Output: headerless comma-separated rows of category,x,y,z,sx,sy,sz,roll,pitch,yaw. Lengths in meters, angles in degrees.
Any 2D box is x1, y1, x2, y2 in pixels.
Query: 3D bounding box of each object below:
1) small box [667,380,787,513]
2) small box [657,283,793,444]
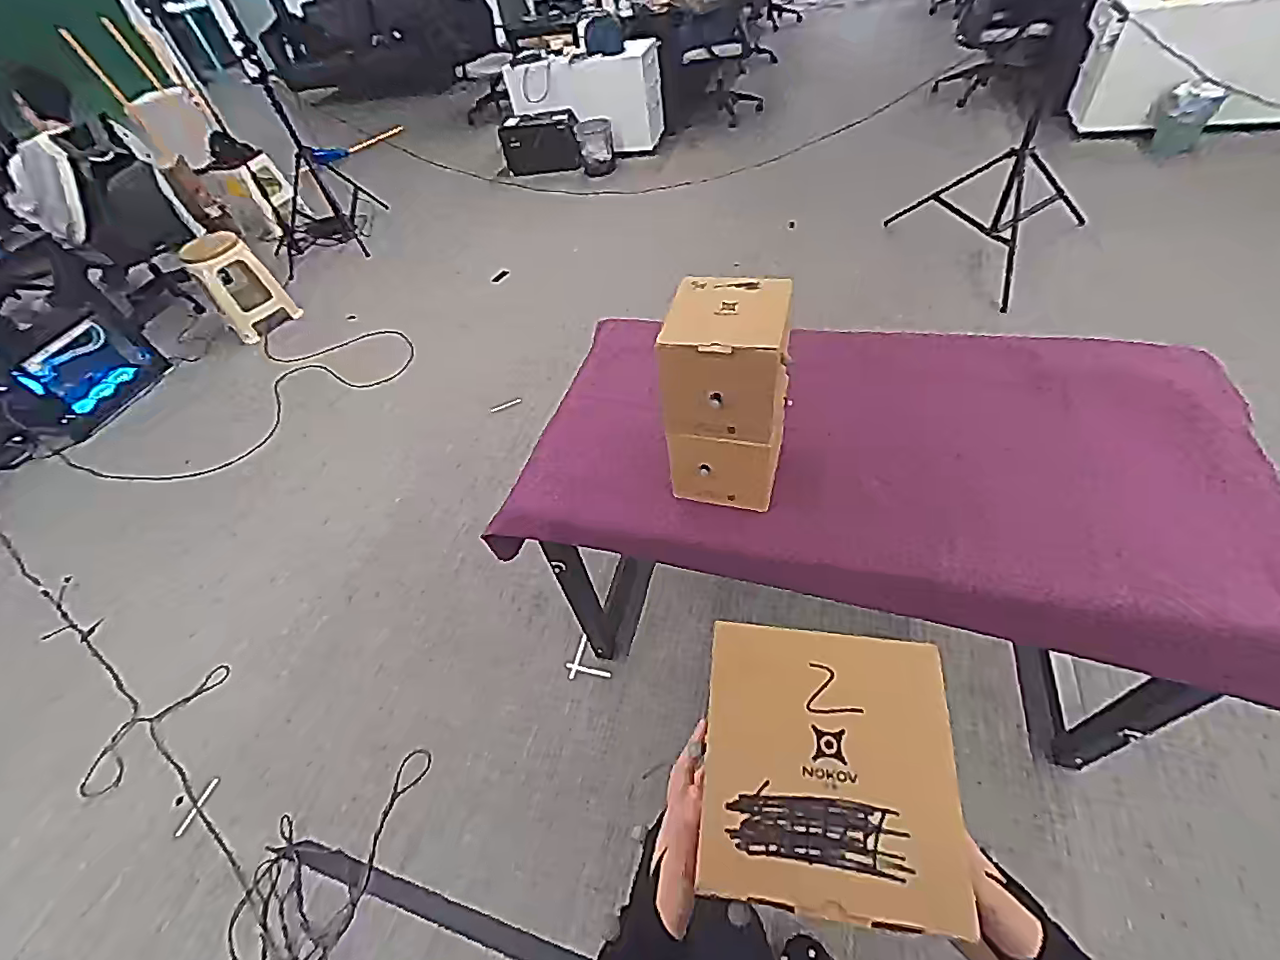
small box,0.155,-0.064,0.937,0.168,0.176,0.179,9,51,17
small box,0.133,-0.175,0.818,0.168,0.176,0.179,8,51,16
